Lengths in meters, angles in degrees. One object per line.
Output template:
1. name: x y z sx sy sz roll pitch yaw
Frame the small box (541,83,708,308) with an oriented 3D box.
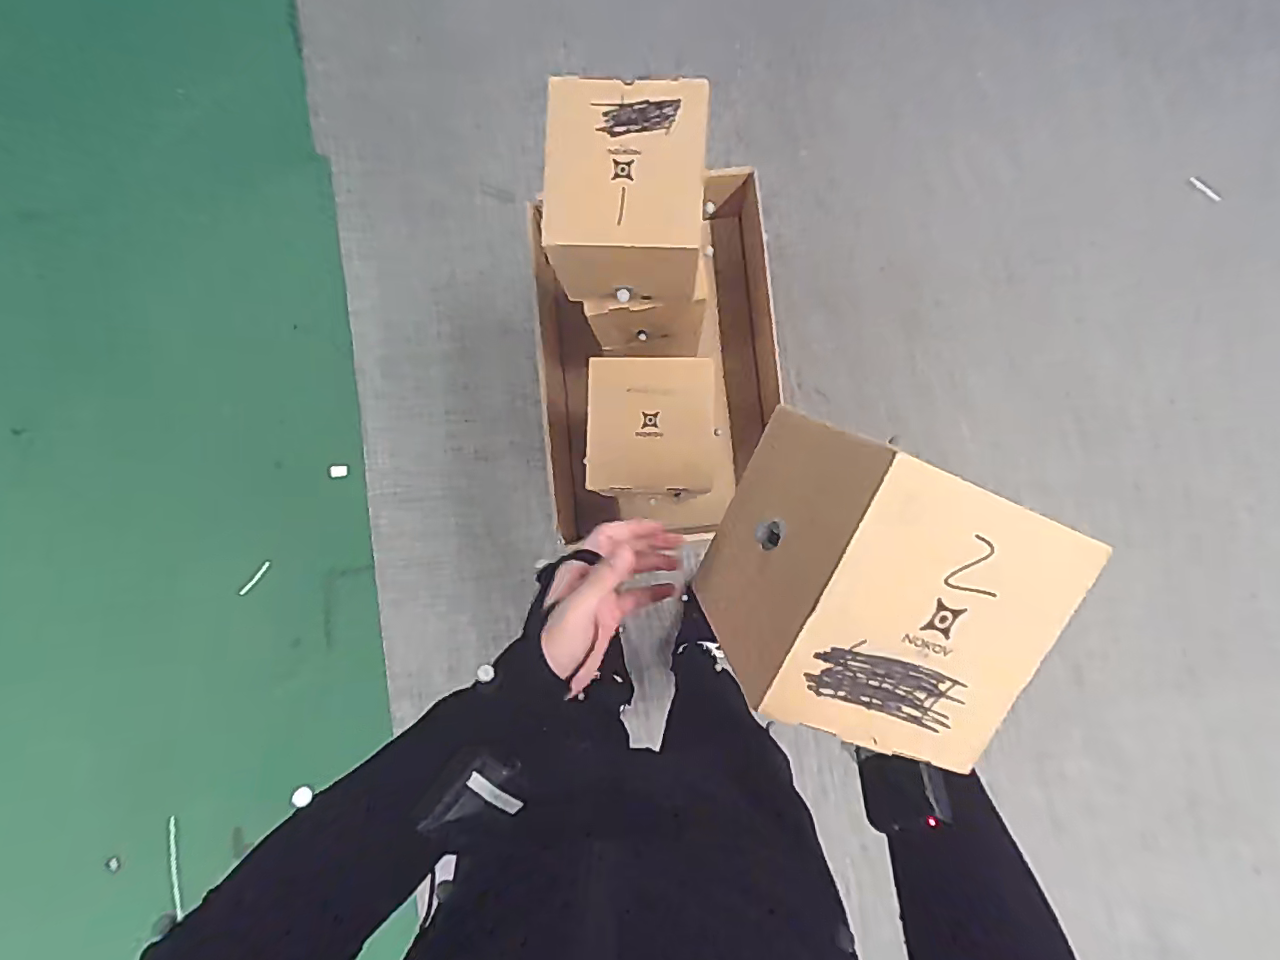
1. small box: -0.014 -0.319 0.635 0.168 0.176 0.179 3 90 3

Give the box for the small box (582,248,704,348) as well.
1. small box: -0.002 -0.311 0.799 0.168 0.176 0.179 -7 89 2

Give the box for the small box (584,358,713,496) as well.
1. small box: 0.015 -0.067 0.782 0.168 0.176 0.179 1 86 3

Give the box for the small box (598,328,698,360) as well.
1. small box: 0.008 -0.308 0.960 0.168 0.176 0.179 -6 88 3
